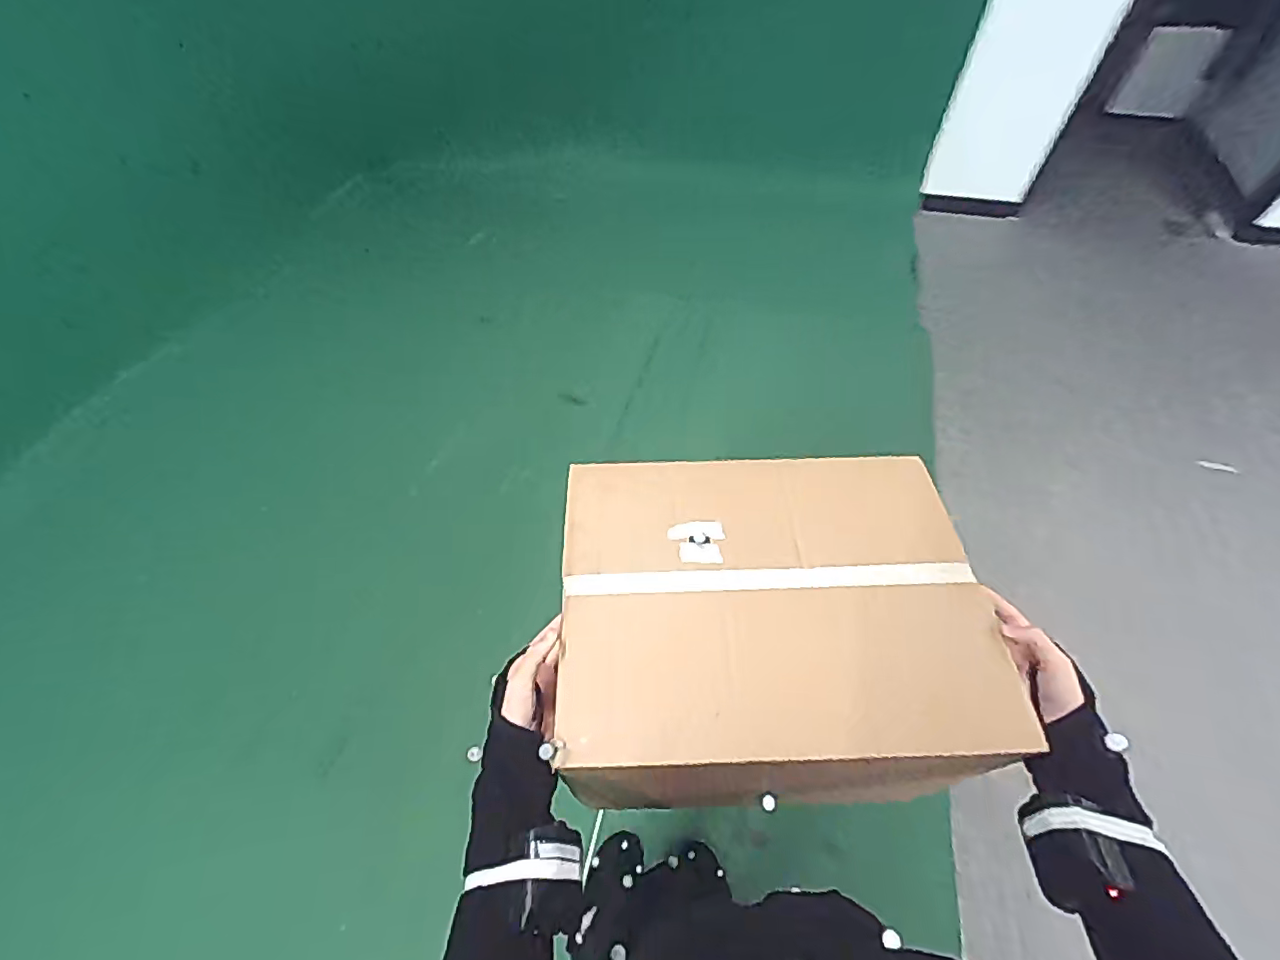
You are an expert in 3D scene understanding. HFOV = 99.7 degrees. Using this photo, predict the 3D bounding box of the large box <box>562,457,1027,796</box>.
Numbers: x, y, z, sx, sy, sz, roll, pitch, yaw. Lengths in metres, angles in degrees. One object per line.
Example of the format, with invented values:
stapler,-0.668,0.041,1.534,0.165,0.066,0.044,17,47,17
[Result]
large box,0.133,0.192,0.663,0.408,0.320,0.320,-2,53,1
